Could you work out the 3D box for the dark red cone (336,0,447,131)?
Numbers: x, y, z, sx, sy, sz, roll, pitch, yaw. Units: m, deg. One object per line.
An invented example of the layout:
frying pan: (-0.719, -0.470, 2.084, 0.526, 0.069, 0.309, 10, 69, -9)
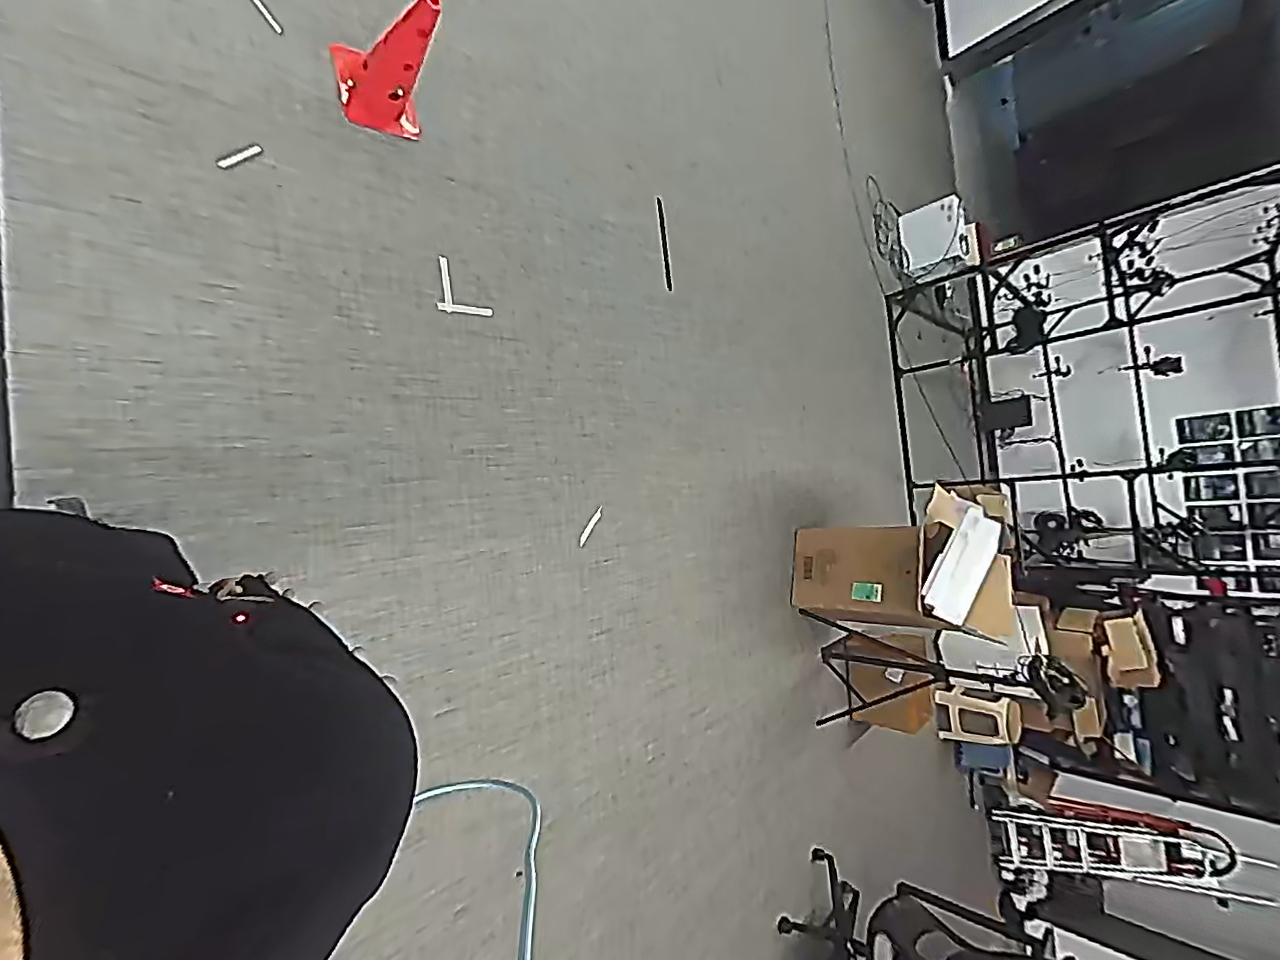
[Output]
dark red cone: (-0.561, -1.045, 1.297, 0.201, 0.394, 0.202, -15, 95, -44)
